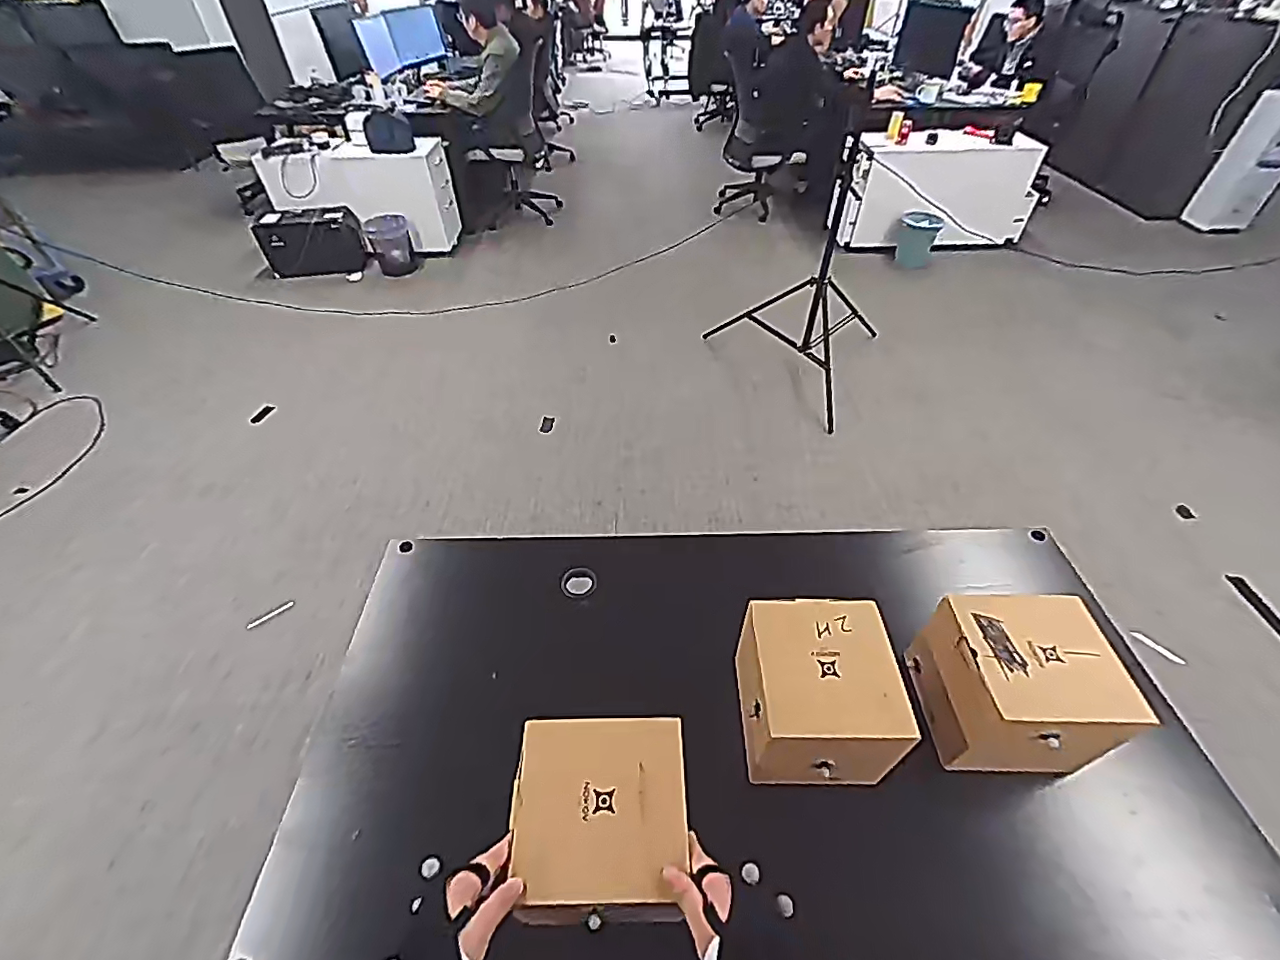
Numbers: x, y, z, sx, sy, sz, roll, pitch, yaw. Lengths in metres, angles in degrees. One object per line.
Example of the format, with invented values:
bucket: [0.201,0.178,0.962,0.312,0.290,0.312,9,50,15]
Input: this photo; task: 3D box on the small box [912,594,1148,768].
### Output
small box: [0.488,0.269,0.720,0.179,0.176,0.168,1,45,1]

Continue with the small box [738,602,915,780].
small box: [0.228,0.280,0.713,0.168,0.176,0.179,0,45,1]

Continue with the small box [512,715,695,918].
small box: [-0.035,0.385,0.617,0.179,0.176,0.168,-1,46,-2]
